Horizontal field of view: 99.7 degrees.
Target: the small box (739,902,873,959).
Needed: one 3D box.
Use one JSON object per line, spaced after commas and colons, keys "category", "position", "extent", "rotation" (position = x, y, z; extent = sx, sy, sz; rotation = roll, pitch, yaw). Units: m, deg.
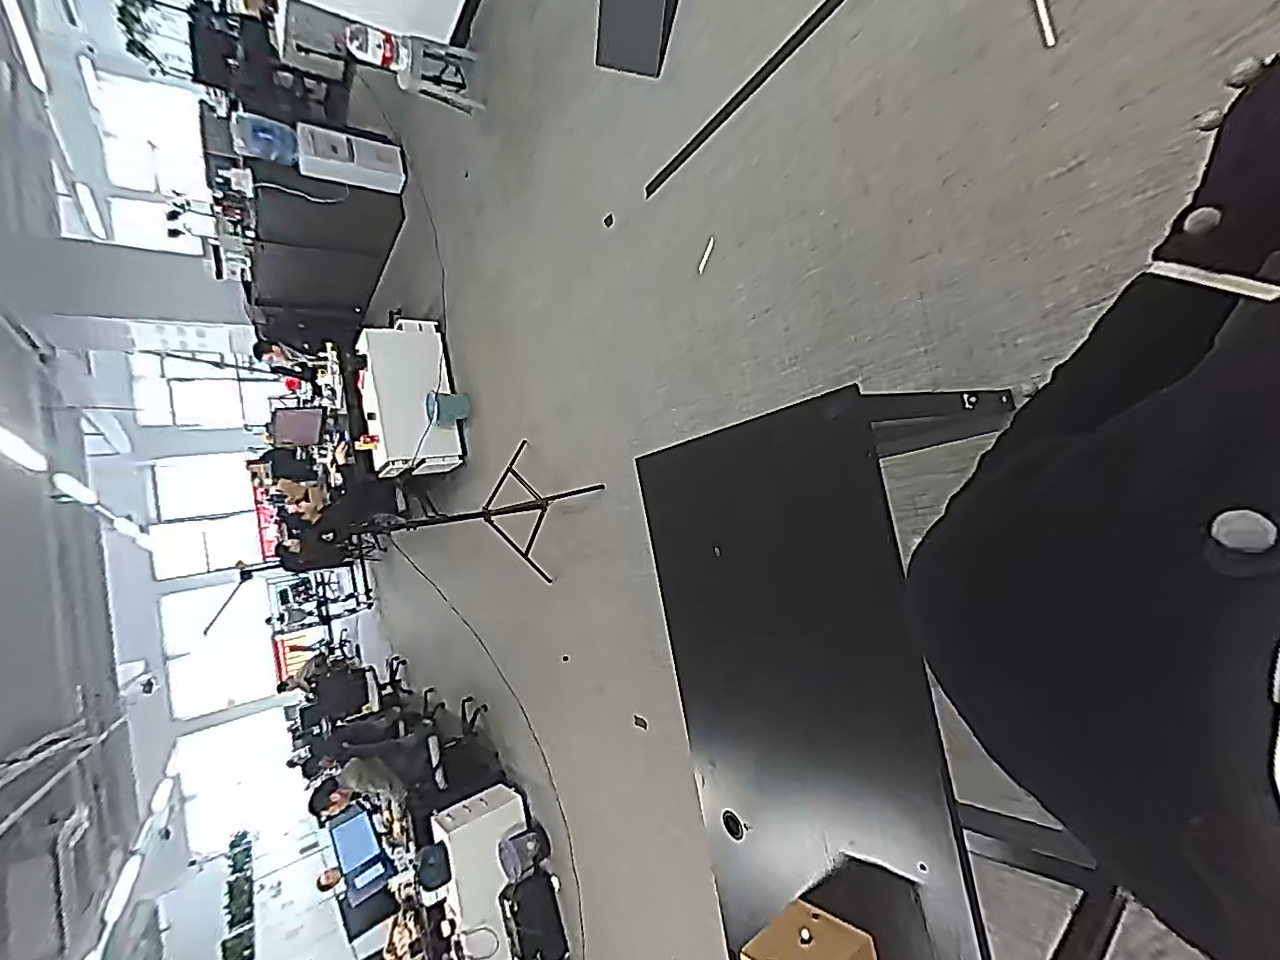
{"category": "small box", "position": [0.304, 0.898, 0.947], "extent": [0.168, 0.176, 0.179], "rotation": [-20, 80, 52]}
